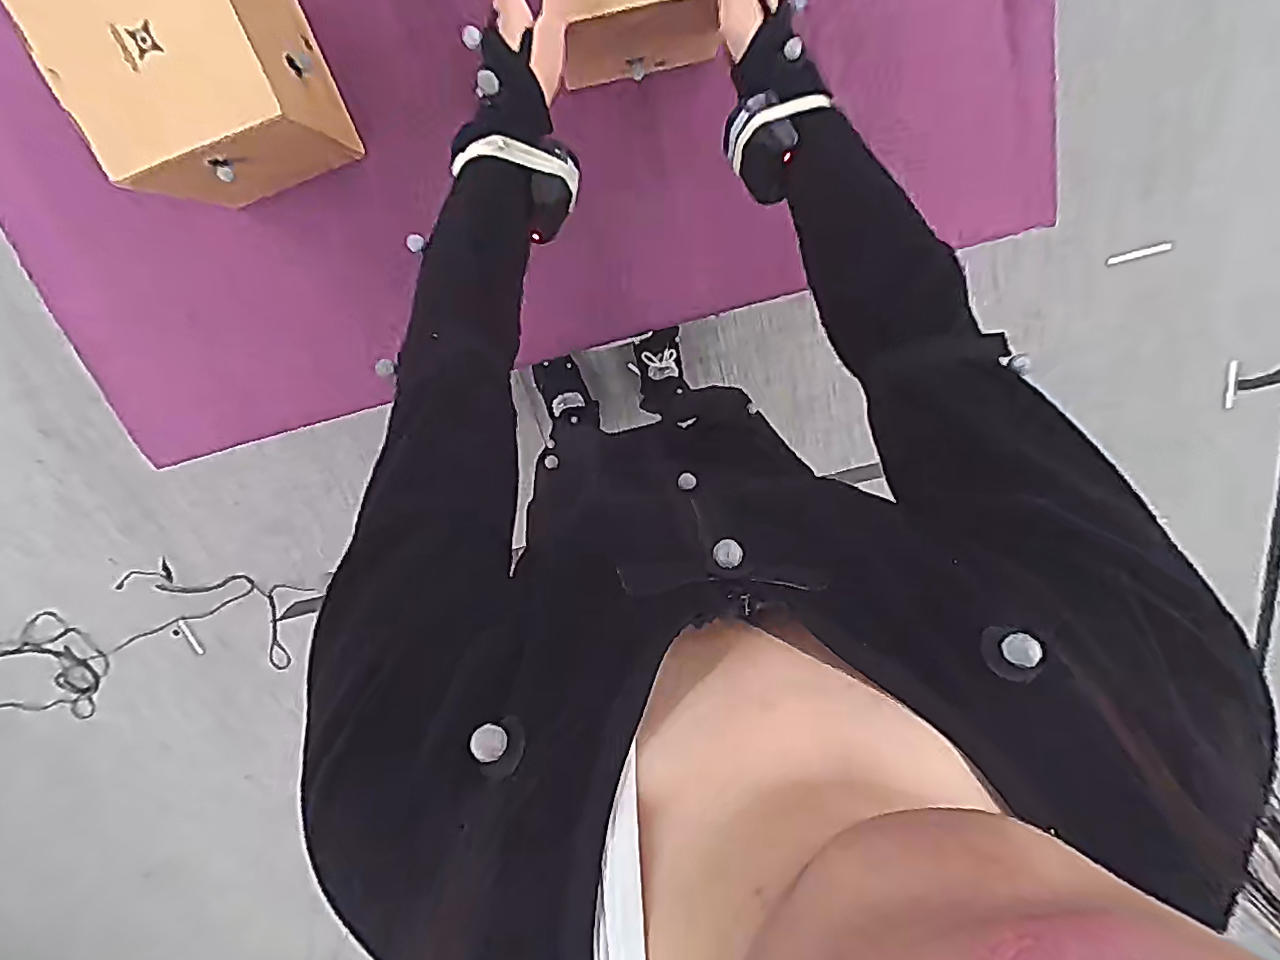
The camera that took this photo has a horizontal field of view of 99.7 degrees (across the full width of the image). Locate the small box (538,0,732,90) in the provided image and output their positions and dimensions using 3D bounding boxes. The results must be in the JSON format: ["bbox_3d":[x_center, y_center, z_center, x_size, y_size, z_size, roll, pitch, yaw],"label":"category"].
[{"bbox_3d":[-0.018,-0.497,0.493,0.168,0.176,0.179,-10,111,3],"label":"small box"}]

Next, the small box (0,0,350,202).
[{"bbox_3d":[-0.417,-0.389,0.523,0.179,0.176,0.168,-18,110,5],"label":"small box"}]
